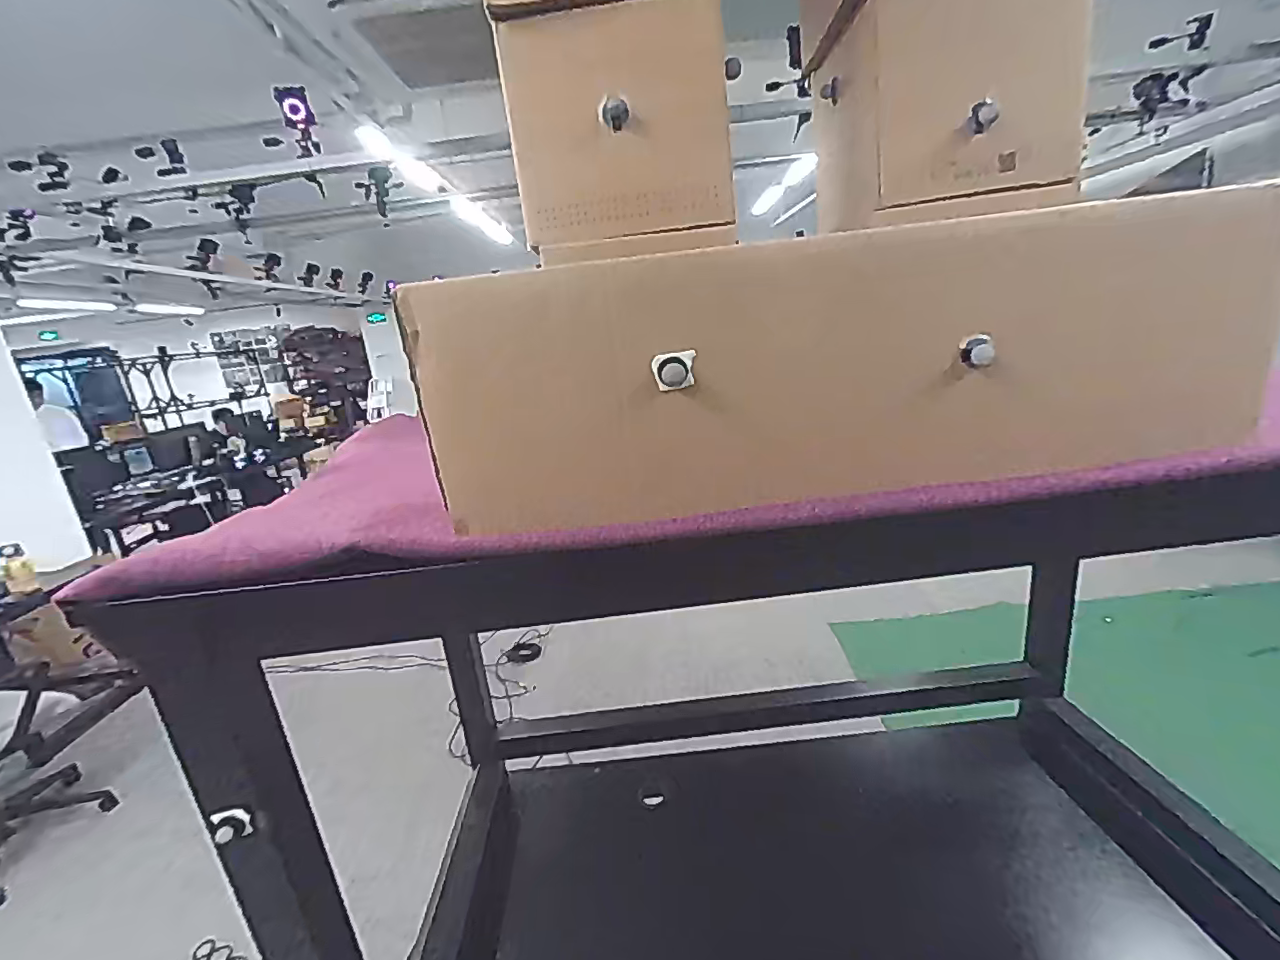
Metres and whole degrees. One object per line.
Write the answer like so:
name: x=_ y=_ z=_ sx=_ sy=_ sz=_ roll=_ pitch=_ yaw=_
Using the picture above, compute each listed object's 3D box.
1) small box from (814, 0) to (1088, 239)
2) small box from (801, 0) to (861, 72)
small box: x=0.272 y=-0.337 z=0.513 sx=0.168 sy=0.176 sz=0.179 roll=-8 pitch=15 yaw=3
small box: x=0.238 y=-0.490 z=0.467 sx=0.168 sy=0.176 sz=0.179 roll=-7 pitch=15 yaw=4
